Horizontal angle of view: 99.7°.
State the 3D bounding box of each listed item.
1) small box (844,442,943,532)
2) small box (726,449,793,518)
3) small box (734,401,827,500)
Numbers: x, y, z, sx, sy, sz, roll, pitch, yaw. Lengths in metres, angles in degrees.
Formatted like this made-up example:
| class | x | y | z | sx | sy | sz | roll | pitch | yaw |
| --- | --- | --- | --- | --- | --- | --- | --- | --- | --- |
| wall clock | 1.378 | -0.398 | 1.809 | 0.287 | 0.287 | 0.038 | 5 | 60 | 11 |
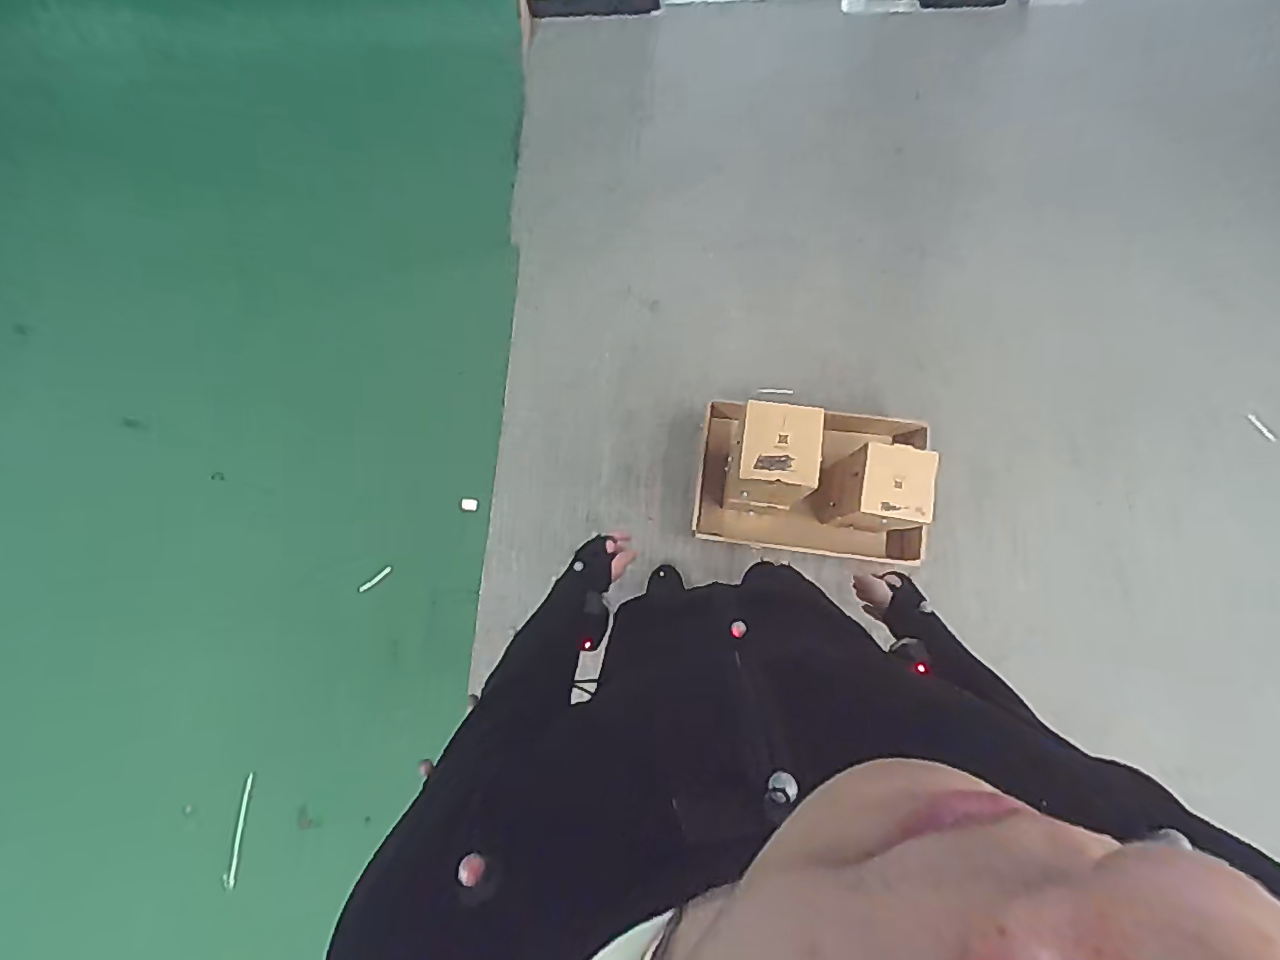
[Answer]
| class | x | y | z | sx | sy | sz | roll | pitch | yaw |
| --- | --- | --- | --- | --- | --- | --- | --- | --- | --- |
| small box | 0.619 | 0.023 | 1.336 | 0.168 | 0.176 | 0.179 | 10 | 81 | 6 |
| small box | 0.339 | 0.002 | 1.528 | 0.168 | 0.176 | 0.179 | 8 | 80 | 6 |
| small box | 0.306 | -0.059 | 1.207 | 0.168 | 0.176 | 0.179 | 8 | 79 | 5 |
